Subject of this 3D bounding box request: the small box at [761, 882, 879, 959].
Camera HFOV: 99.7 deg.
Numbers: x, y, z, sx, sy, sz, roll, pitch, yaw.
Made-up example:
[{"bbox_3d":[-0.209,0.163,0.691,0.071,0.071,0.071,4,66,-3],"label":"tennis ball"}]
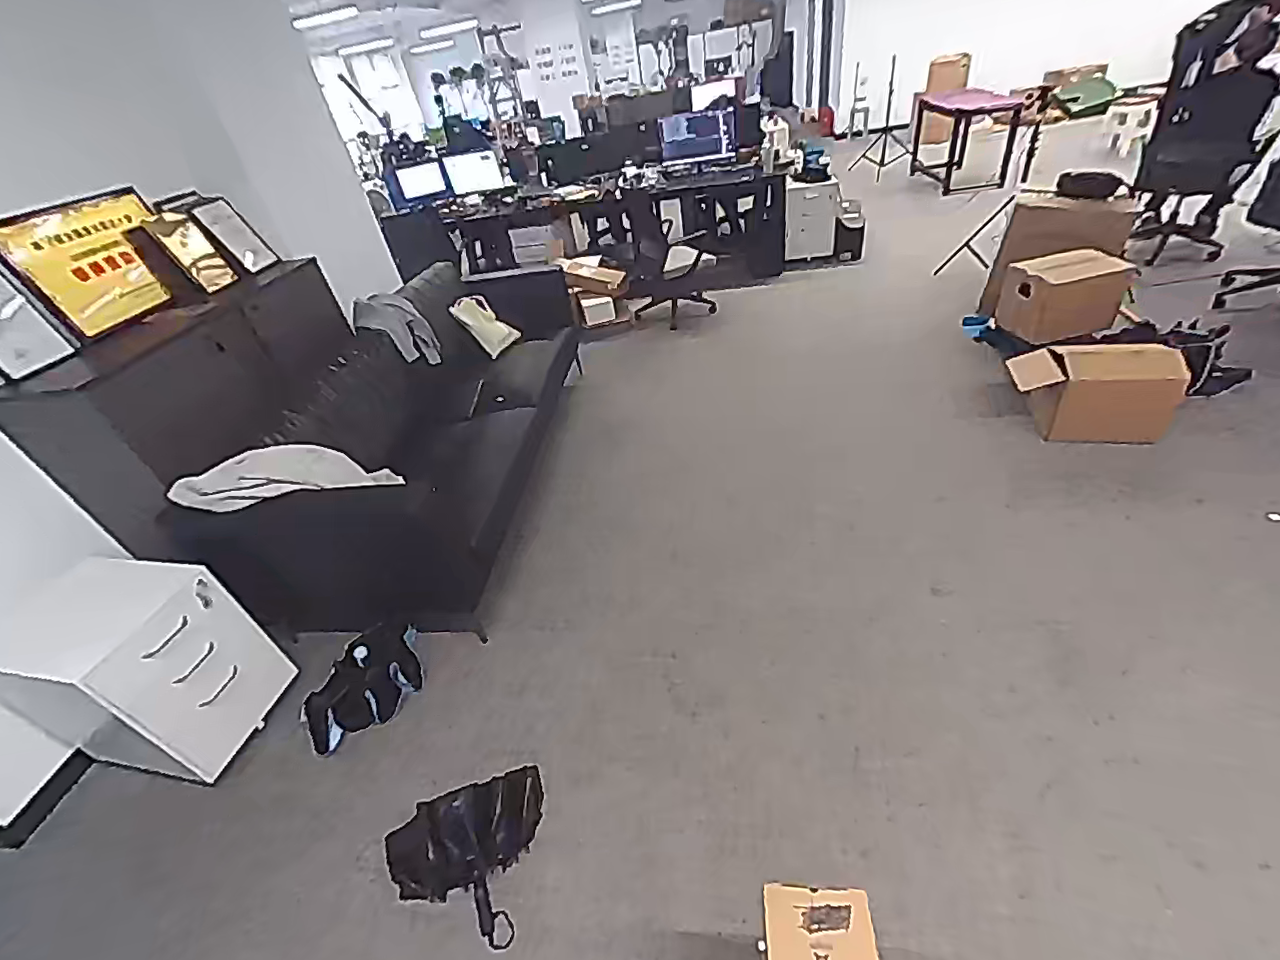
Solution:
[{"bbox_3d":[0.281,0.773,0.857,0.168,0.176,0.179,-2,39,9],"label":"small box"}]
